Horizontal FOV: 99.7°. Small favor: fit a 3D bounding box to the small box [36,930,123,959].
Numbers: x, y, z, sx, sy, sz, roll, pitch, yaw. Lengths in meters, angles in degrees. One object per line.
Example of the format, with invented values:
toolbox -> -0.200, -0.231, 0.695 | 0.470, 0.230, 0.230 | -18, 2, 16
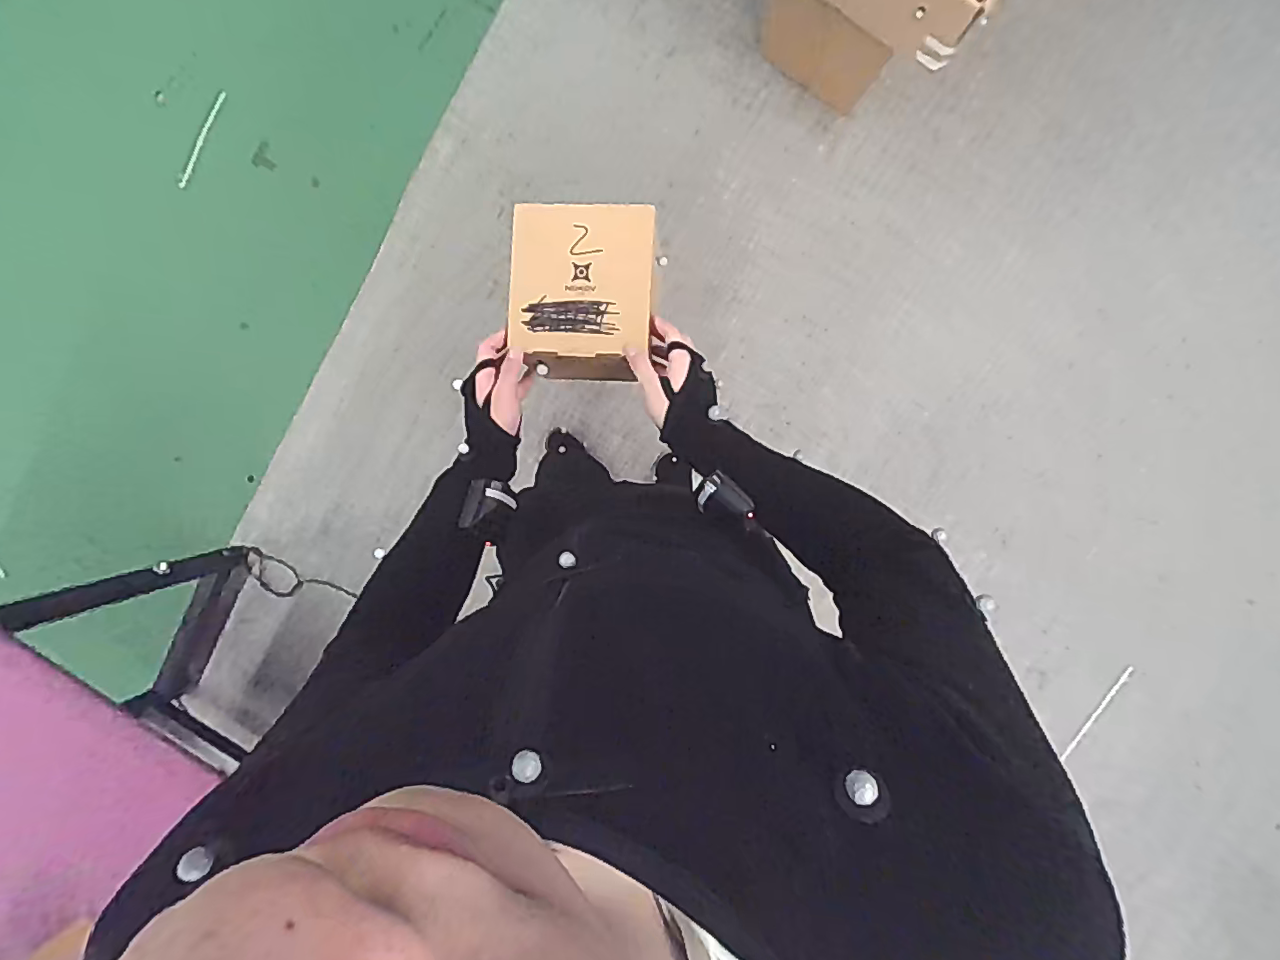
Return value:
small box -> -1.079, 0.987, 0.975 | 0.168, 0.176, 0.179 | 32, 95, 2
